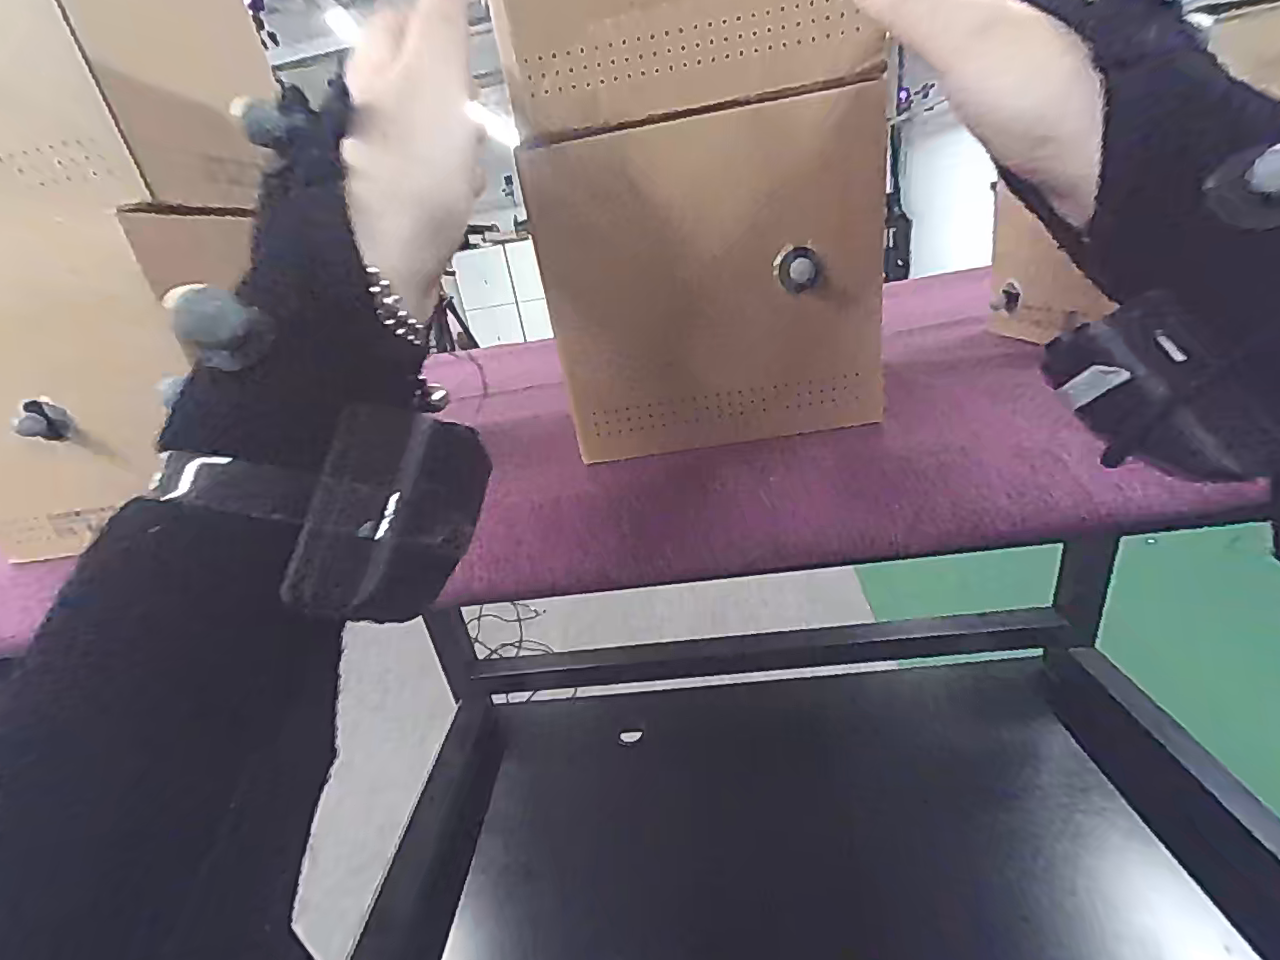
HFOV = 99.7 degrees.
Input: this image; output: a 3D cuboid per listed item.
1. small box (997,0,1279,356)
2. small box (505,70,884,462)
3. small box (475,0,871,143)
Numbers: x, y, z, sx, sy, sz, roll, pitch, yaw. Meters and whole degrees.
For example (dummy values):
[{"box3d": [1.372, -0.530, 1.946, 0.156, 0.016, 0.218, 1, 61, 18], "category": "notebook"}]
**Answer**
[{"box3d": [0.354, -0.181, 0.339, 0.179, 0.176, 0.168, -7, 22, 7], "category": "small box"}, {"box3d": [0.037, -0.125, 0.348, 0.179, 0.176, 0.168, -9, 23, 4], "category": "small box"}, {"box3d": [0.007, -0.273, 0.285, 0.179, 0.176, 0.168, -9, 24, 3], "category": "small box"}]
